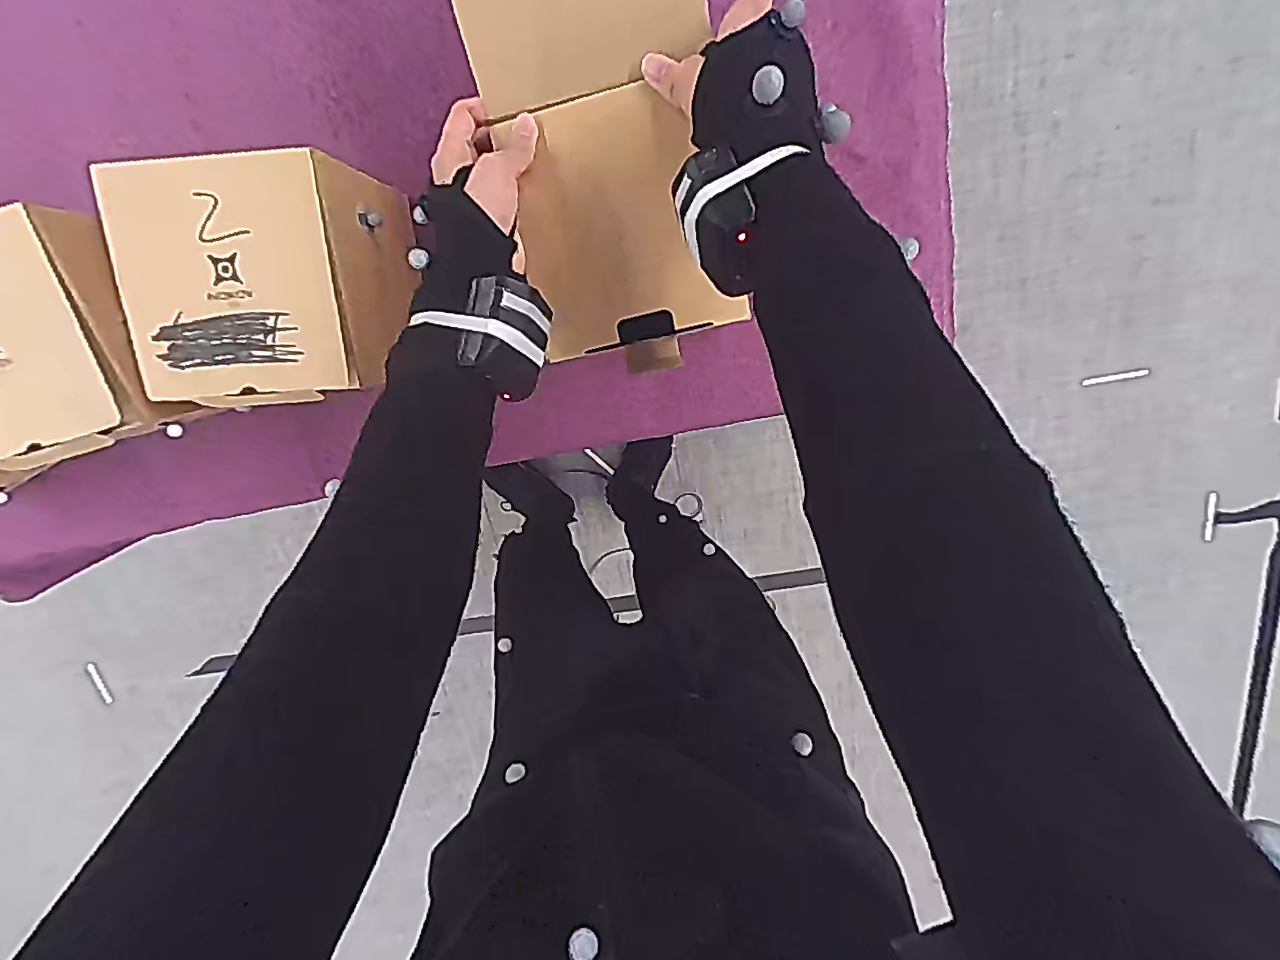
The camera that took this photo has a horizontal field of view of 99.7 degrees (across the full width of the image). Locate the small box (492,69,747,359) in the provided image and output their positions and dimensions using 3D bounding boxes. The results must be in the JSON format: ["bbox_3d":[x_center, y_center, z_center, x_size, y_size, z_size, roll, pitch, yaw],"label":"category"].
[{"bbox_3d":[-0.011,-0.212,0.478,0.168,0.176,0.179,-10,106,5],"label":"small box"}]
